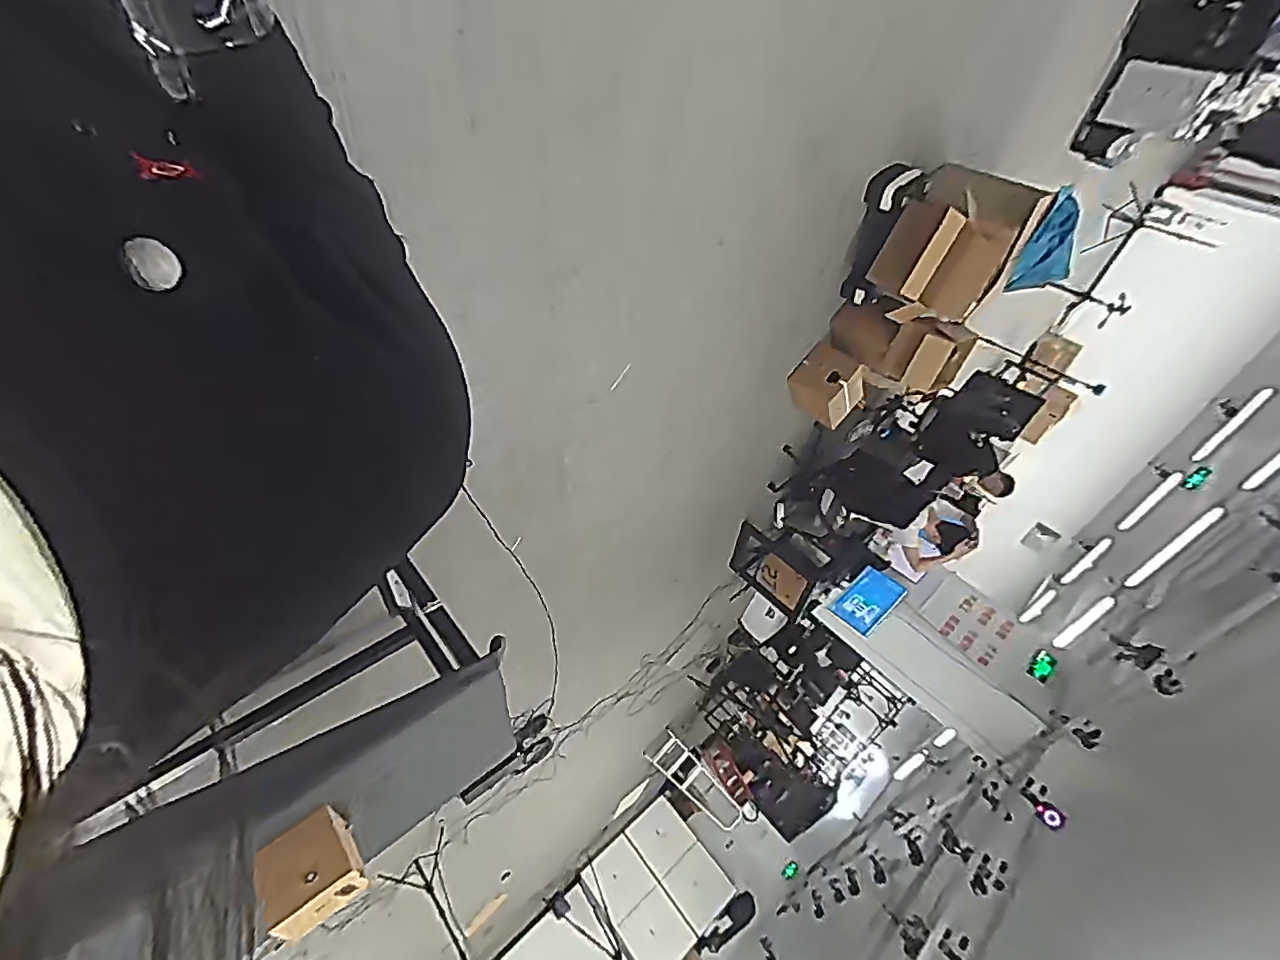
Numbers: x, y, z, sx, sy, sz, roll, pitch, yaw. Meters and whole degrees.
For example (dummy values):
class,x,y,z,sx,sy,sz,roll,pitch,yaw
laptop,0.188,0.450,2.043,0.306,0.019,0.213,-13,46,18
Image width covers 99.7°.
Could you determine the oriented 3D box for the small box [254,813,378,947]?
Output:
class,x,y,z,sx,sy,sz,roll,pitch,yaw
small box,-0.745,0.917,1.251,0.179,0.176,0.168,-29,144,-31
